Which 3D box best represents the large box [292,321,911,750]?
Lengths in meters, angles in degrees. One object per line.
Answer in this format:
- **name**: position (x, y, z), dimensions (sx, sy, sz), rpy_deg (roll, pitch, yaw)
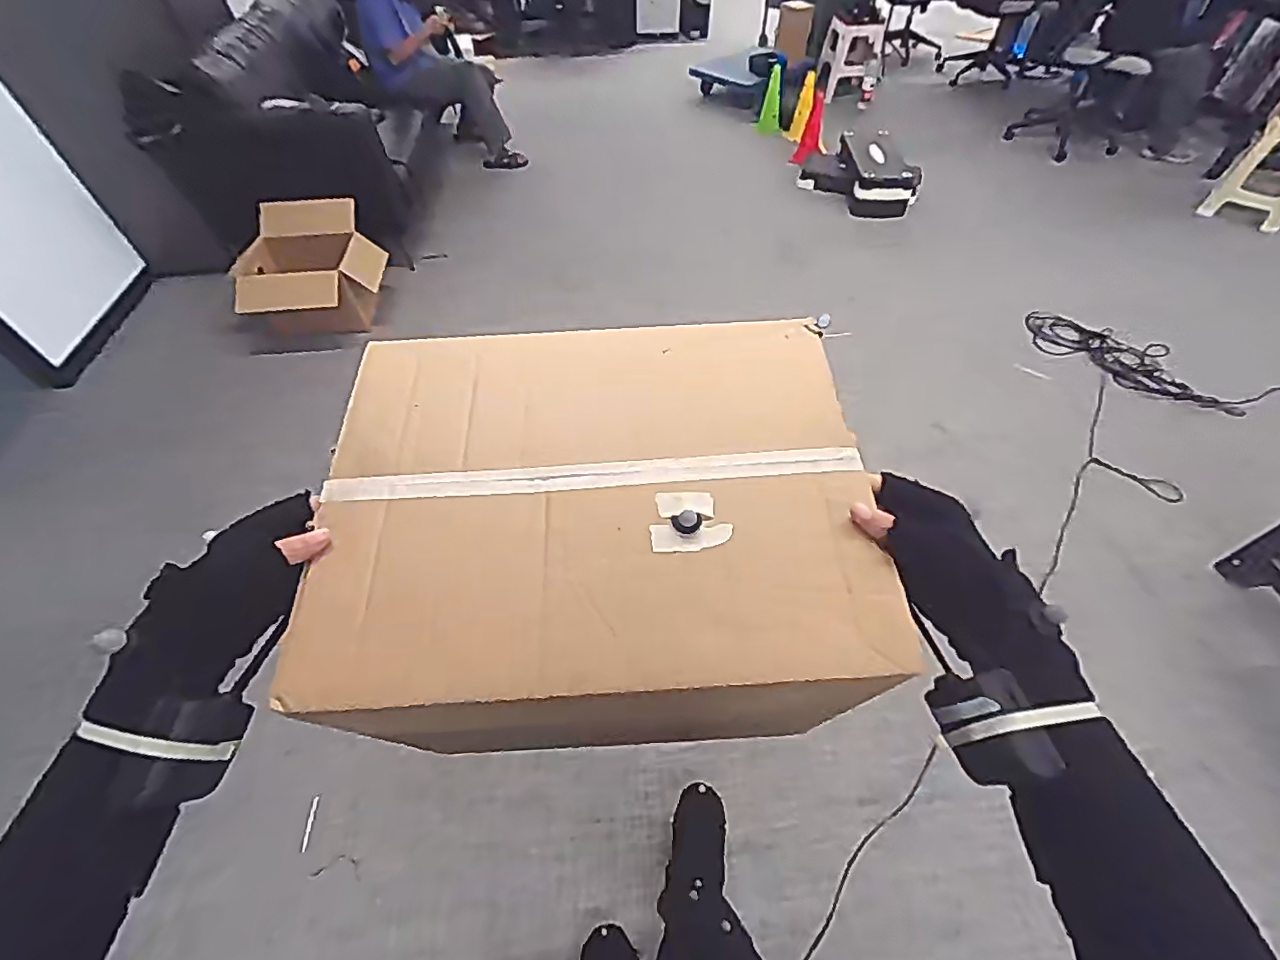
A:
- **large box**: position (-0.032, 0.072, 0.544), dimensions (0.408, 0.320, 0.320), rpy_deg (-3, 59, -2)
